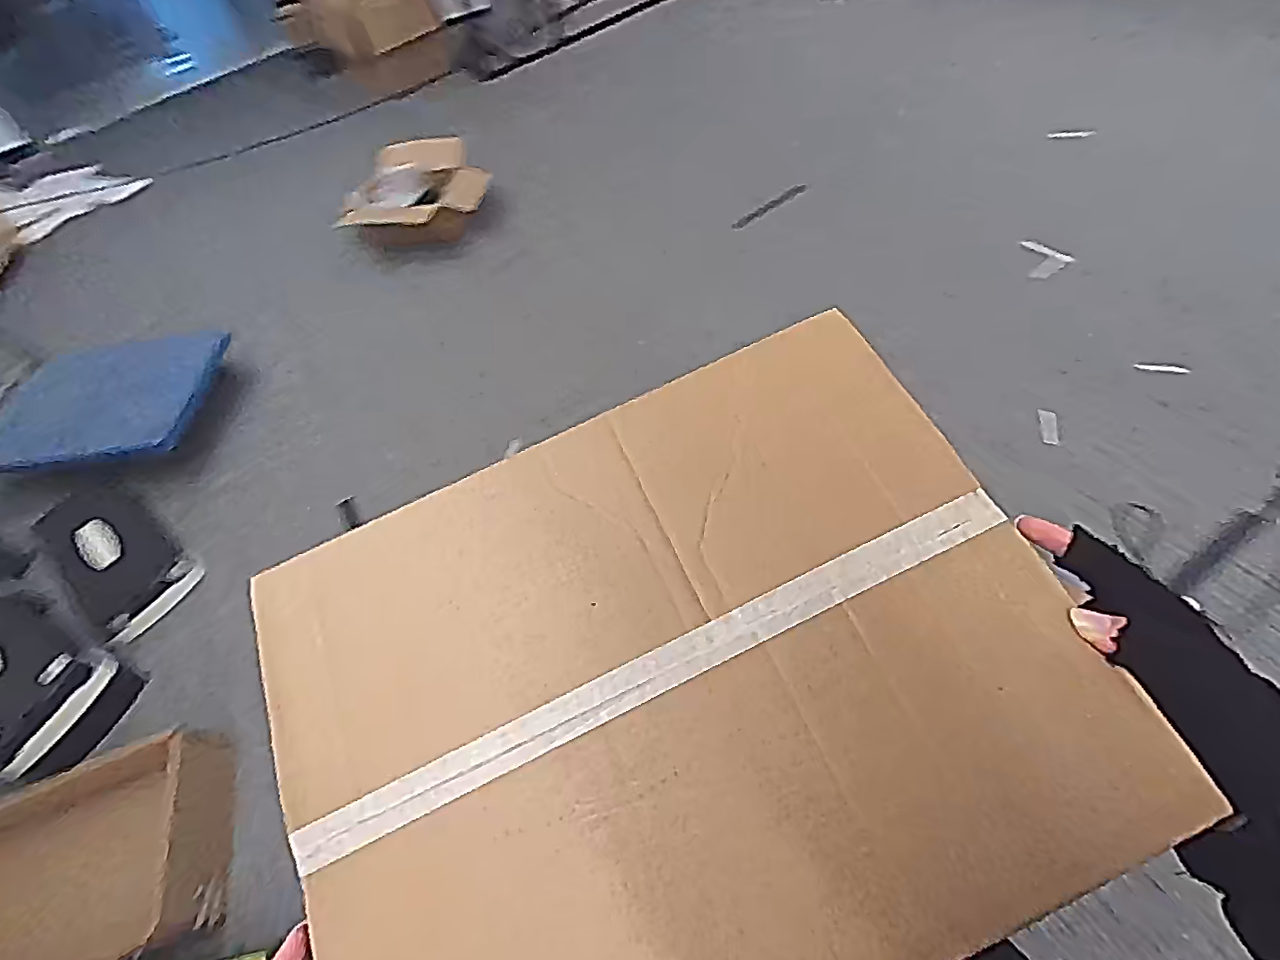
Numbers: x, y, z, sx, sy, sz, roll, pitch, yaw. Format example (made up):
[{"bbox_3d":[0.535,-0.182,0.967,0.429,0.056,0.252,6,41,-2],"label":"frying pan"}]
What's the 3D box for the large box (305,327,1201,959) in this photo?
[{"bbox_3d":[0.040,0.160,0.434,0.408,0.320,0.320,-25,68,-2],"label":"large box"}]
